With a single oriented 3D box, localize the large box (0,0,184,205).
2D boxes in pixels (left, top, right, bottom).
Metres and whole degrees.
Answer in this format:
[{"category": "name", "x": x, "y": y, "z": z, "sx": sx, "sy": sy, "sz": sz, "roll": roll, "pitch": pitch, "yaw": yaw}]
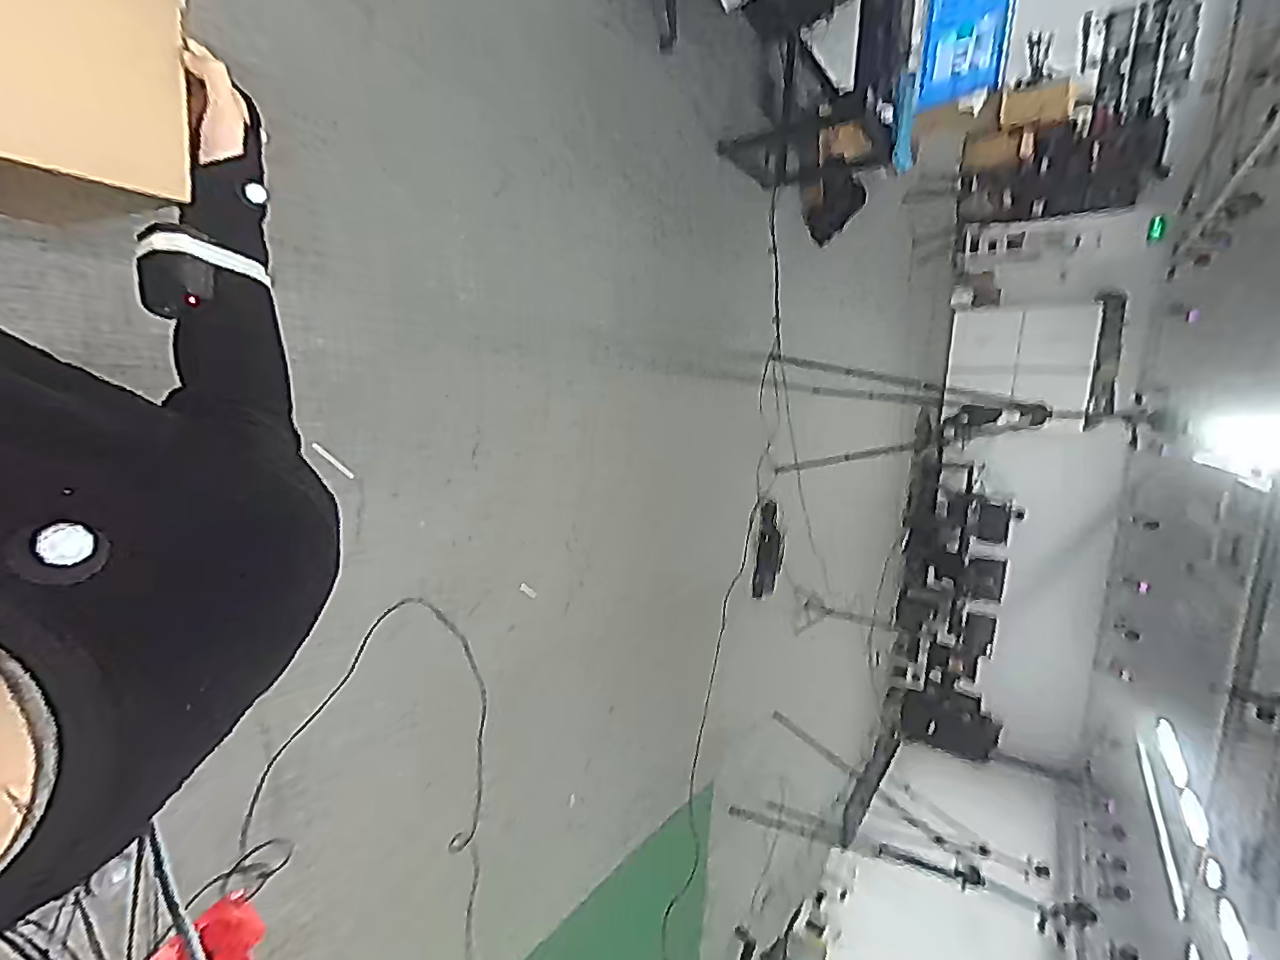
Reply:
[{"category": "large box", "x": -0.599, "y": -0.390, "z": 0.332, "sx": 0.408, "sy": 0.320, "sz": 0.320, "roll": -14, "pitch": 112, "yaw": -56}]
